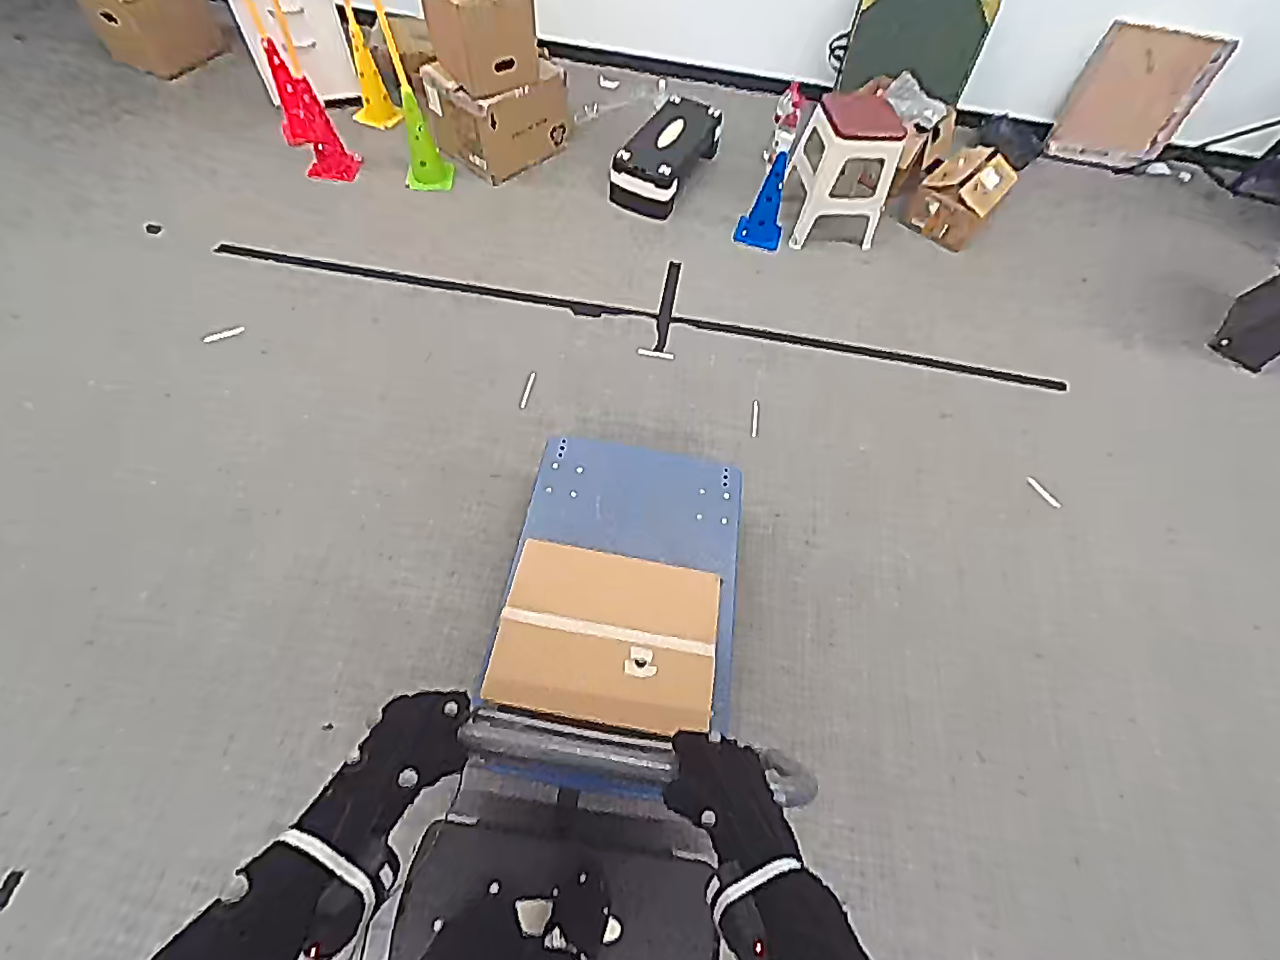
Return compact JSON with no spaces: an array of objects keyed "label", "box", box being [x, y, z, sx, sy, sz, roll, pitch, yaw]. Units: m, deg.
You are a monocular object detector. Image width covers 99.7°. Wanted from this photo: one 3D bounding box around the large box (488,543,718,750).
[{"label":"large box","box":[-0.073,0.368,1.161,0.408,0.320,0.320,11,59,-1]}]
